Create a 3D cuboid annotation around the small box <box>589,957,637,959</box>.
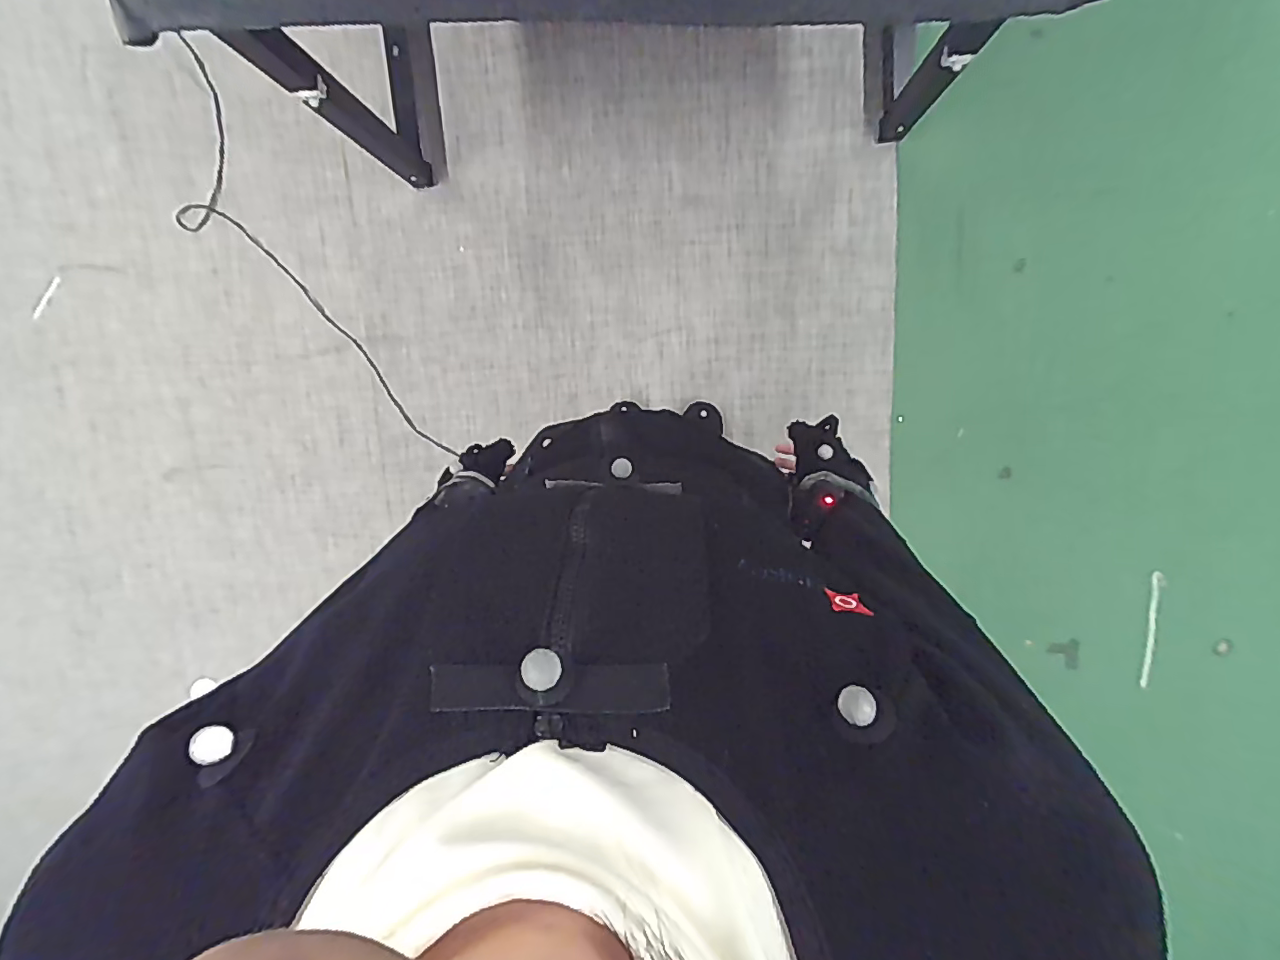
[{"bbox_3d":[-0.092,1.579,1.620,0.179,0.176,0.168,-4,101,4],"label":"small box"}]
